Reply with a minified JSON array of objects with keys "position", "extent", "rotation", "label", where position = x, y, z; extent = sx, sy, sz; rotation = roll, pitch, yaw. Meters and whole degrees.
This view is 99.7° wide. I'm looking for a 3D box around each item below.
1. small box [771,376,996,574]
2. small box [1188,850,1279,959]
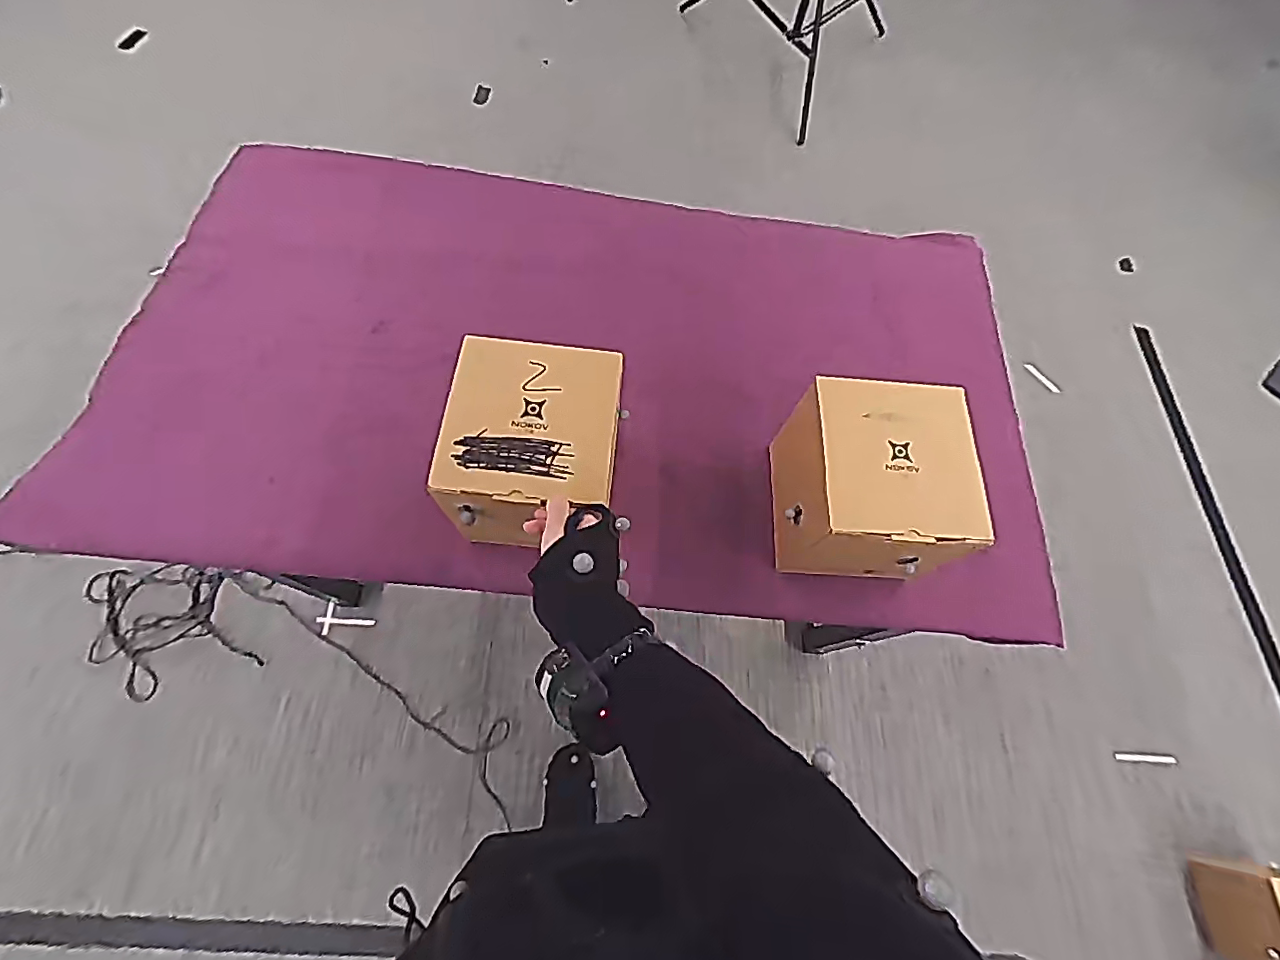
[{"position":[0.257,0.004,0.618],"extent":[0.168,0.176,0.179],"rotation":[4,67,-4],"label":"small box"},{"position":[1.327,0.902,1.138],"extent":[0.168,0.176,0.179],"rotation":[5,68,-3],"label":"small box"}]
